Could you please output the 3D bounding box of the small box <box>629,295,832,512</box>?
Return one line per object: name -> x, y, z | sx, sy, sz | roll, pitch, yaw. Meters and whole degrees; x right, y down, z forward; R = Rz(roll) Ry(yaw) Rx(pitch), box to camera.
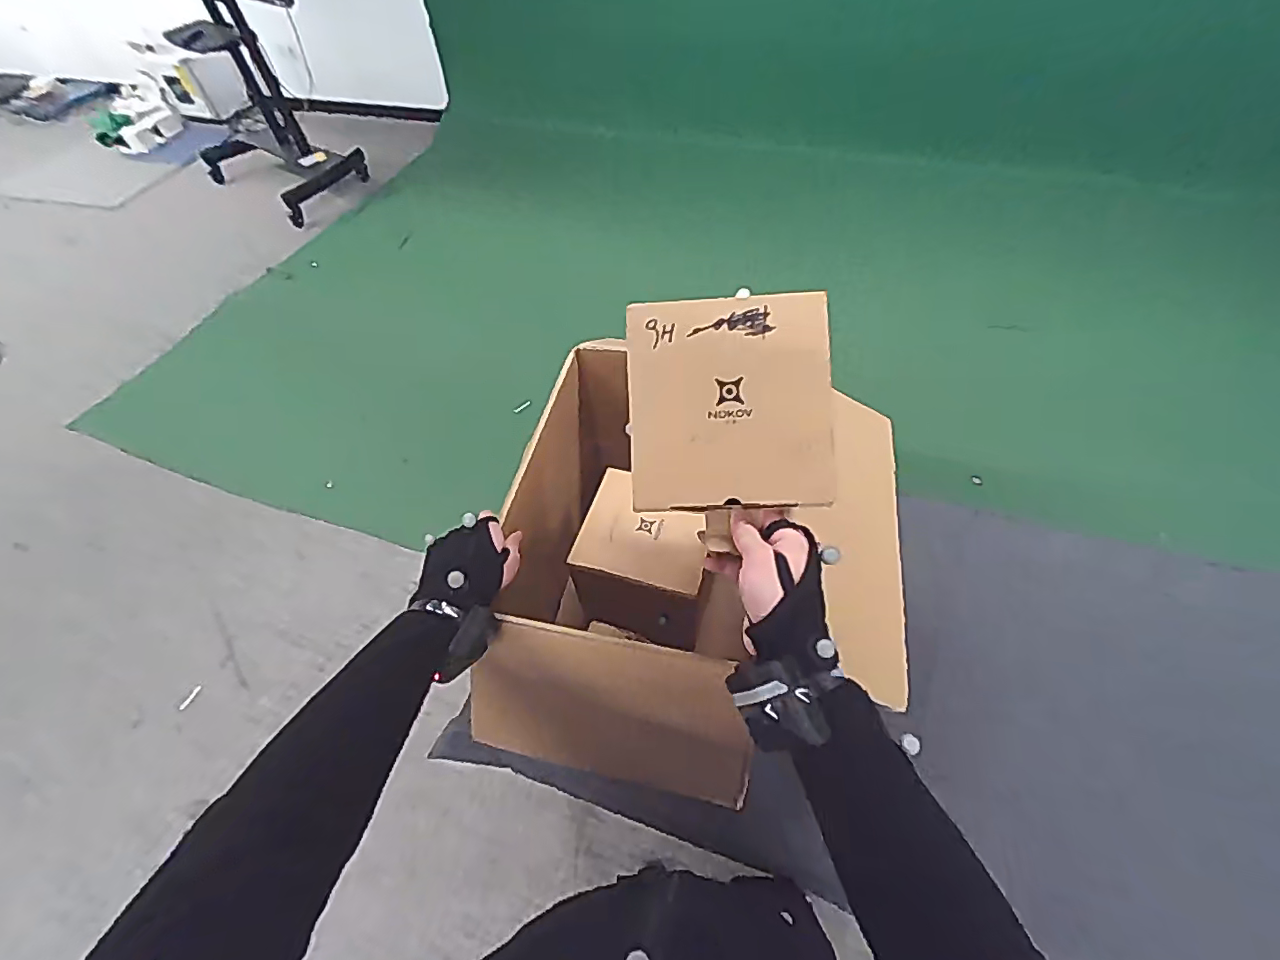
small box -> 0.083, -0.061, 0.531 | 0.168, 0.176, 0.179 | -3, 87, 6
